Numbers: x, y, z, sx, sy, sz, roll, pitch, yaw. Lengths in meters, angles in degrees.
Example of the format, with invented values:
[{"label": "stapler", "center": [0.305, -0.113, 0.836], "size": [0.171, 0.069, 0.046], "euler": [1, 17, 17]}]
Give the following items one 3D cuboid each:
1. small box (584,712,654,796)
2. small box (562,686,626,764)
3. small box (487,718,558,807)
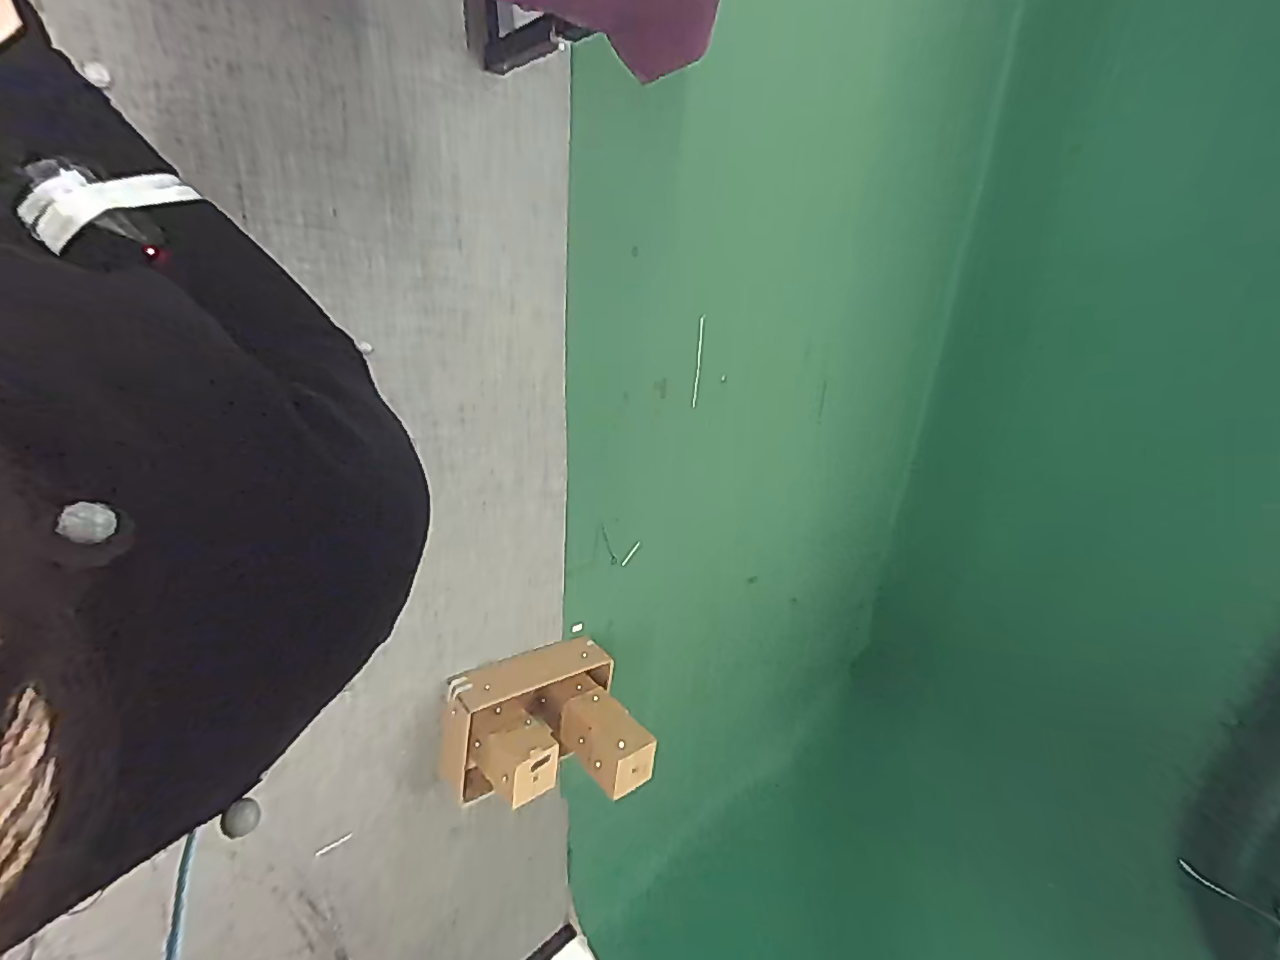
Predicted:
[{"label": "small box", "center": [-0.077, 0.950, 1.891], "size": [0.179, 0.176, 0.168], "euler": [-7, 111, -42]}, {"label": "small box", "center": [-0.177, 0.907, 2.015], "size": [0.168, 0.176, 0.179], "euler": [-5, 109, -42]}, {"label": "small box", "center": [-0.396, 0.927, 1.802], "size": [0.168, 0.176, 0.179], "euler": [-8, 112, -44]}]
